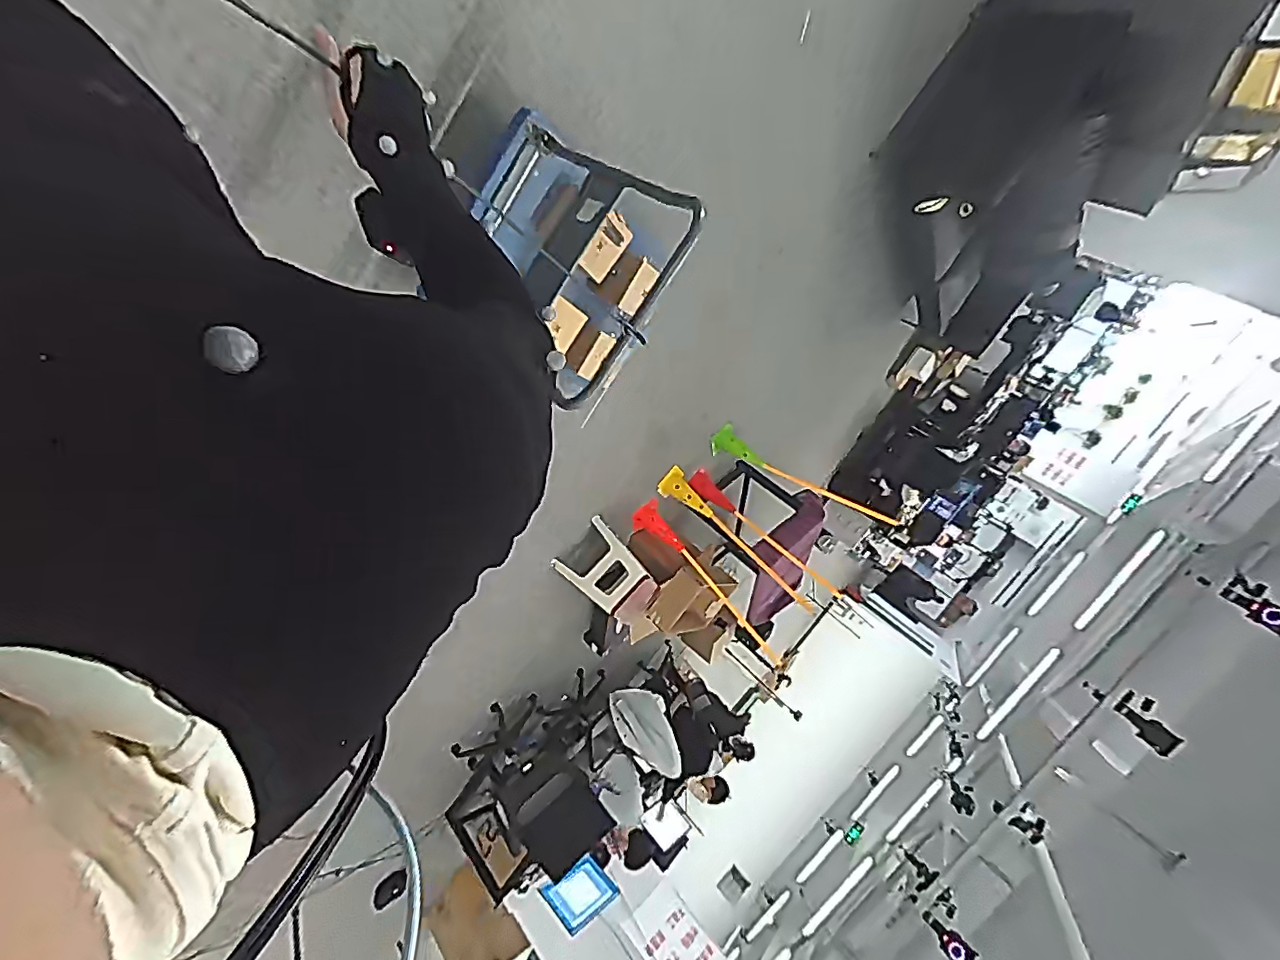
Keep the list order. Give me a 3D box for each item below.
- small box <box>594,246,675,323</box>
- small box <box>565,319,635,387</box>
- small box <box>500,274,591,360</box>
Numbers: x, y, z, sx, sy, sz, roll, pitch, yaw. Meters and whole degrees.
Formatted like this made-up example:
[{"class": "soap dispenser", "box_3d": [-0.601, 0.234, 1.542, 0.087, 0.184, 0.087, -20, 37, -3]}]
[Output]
[{"class": "small box", "box_3d": [-0.022, -0.662, 1.824, 0.179, 0.176, 0.168, 11, 116, -57]}, {"class": "small box", "box_3d": [-0.158, -0.451, 1.878, 0.179, 0.176, 0.168, 15, 111, -56]}, {"class": "small box", "box_3d": [-0.290, -0.500, 1.654, 0.168, 0.176, 0.179, -55, 149, 10]}]
